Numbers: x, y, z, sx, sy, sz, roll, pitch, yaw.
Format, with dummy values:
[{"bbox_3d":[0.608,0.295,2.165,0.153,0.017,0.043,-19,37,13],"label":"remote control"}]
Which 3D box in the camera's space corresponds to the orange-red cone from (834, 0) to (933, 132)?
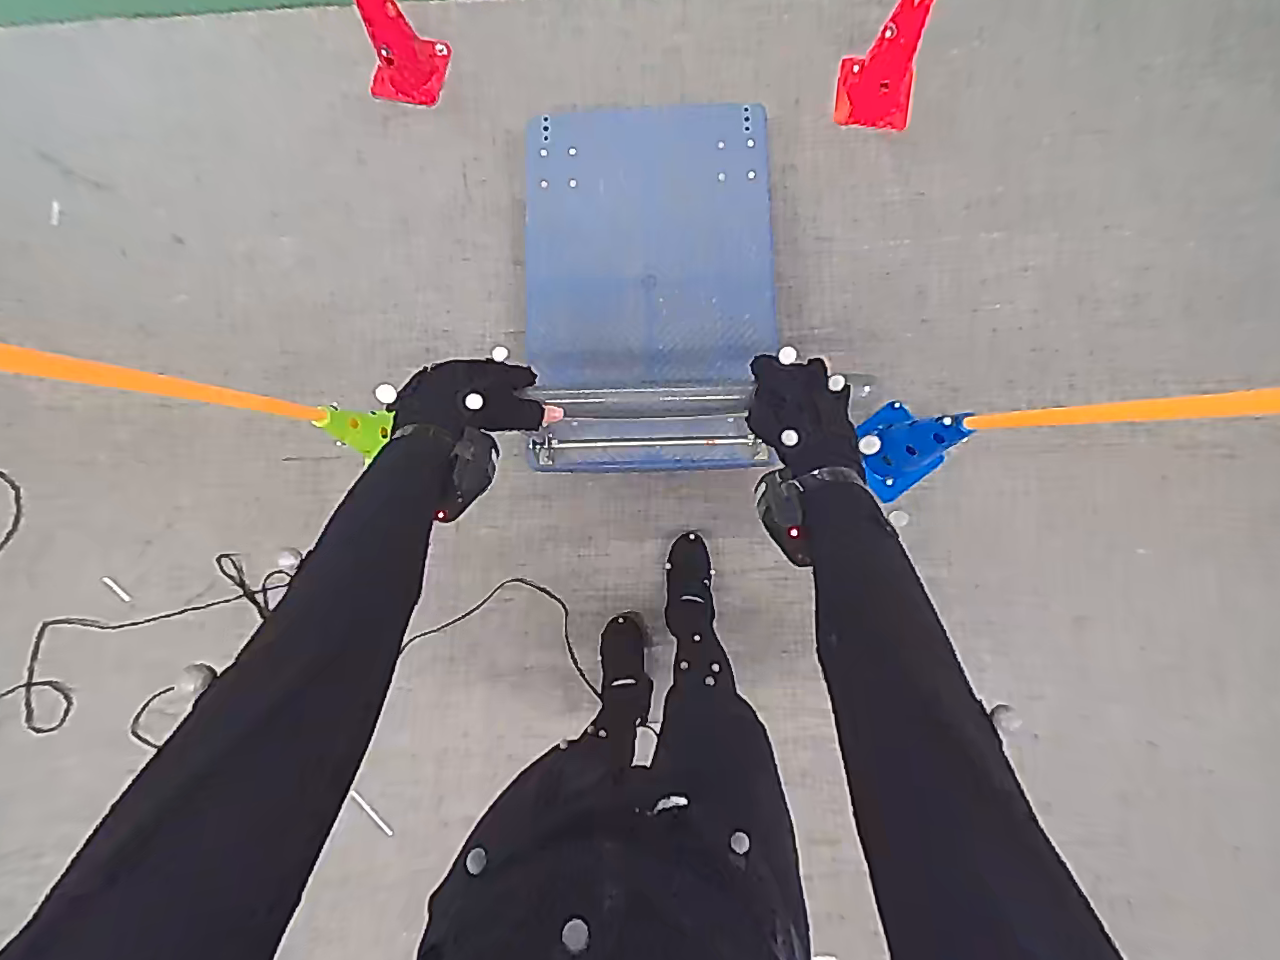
[{"bbox_3d":[0.628,-1.064,1.300,0.198,0.360,0.199,10,85,4],"label":"orange-red cone"}]
